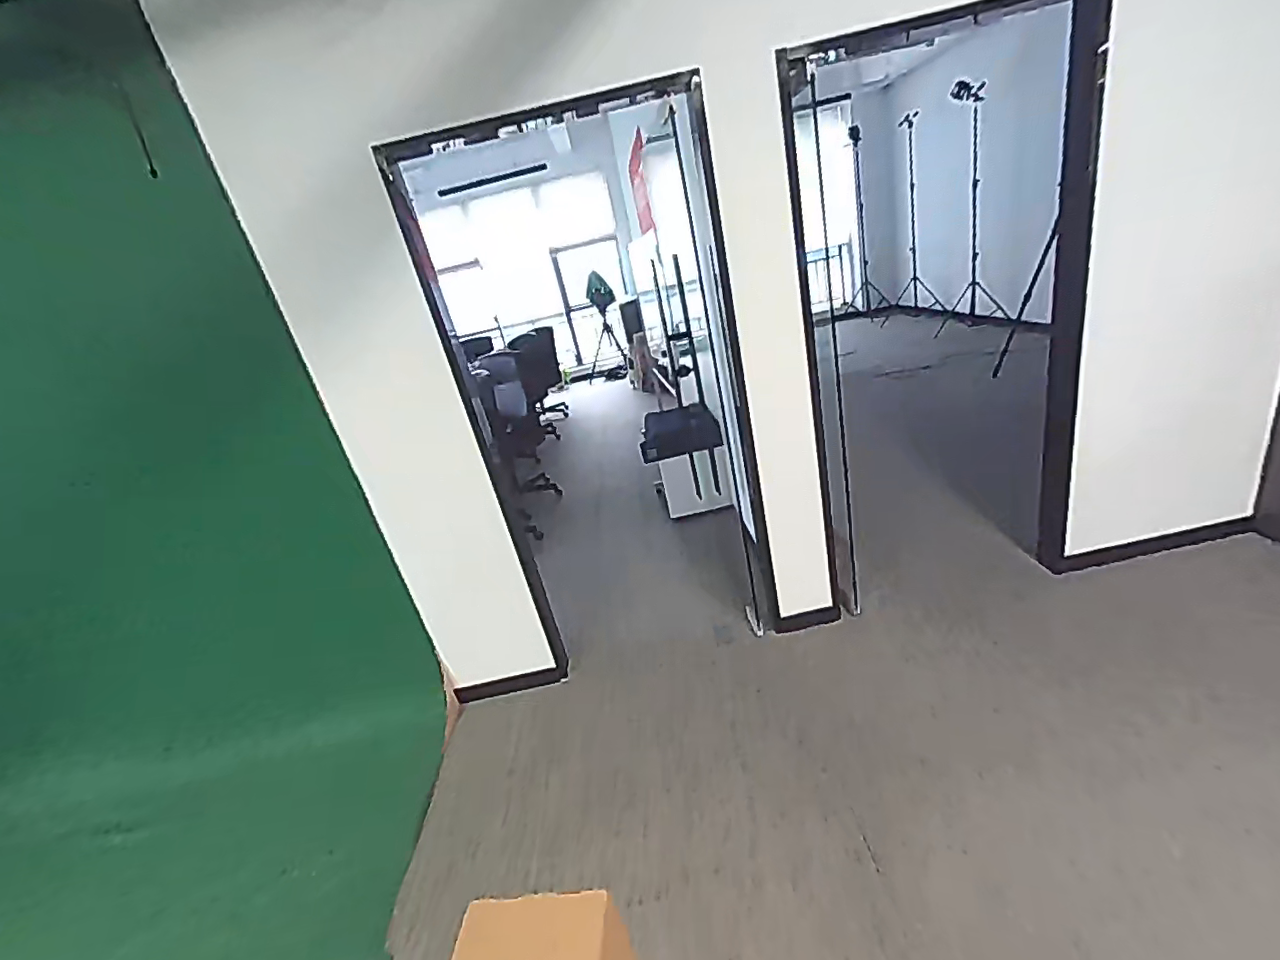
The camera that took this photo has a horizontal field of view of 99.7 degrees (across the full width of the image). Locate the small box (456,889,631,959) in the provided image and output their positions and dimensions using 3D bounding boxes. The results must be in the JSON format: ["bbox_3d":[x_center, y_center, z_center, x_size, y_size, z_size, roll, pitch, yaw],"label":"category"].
[{"bbox_3d":[-0.100,0.577,0.564,0.168,0.176,0.179,-11,20,8],"label":"small box"}]
